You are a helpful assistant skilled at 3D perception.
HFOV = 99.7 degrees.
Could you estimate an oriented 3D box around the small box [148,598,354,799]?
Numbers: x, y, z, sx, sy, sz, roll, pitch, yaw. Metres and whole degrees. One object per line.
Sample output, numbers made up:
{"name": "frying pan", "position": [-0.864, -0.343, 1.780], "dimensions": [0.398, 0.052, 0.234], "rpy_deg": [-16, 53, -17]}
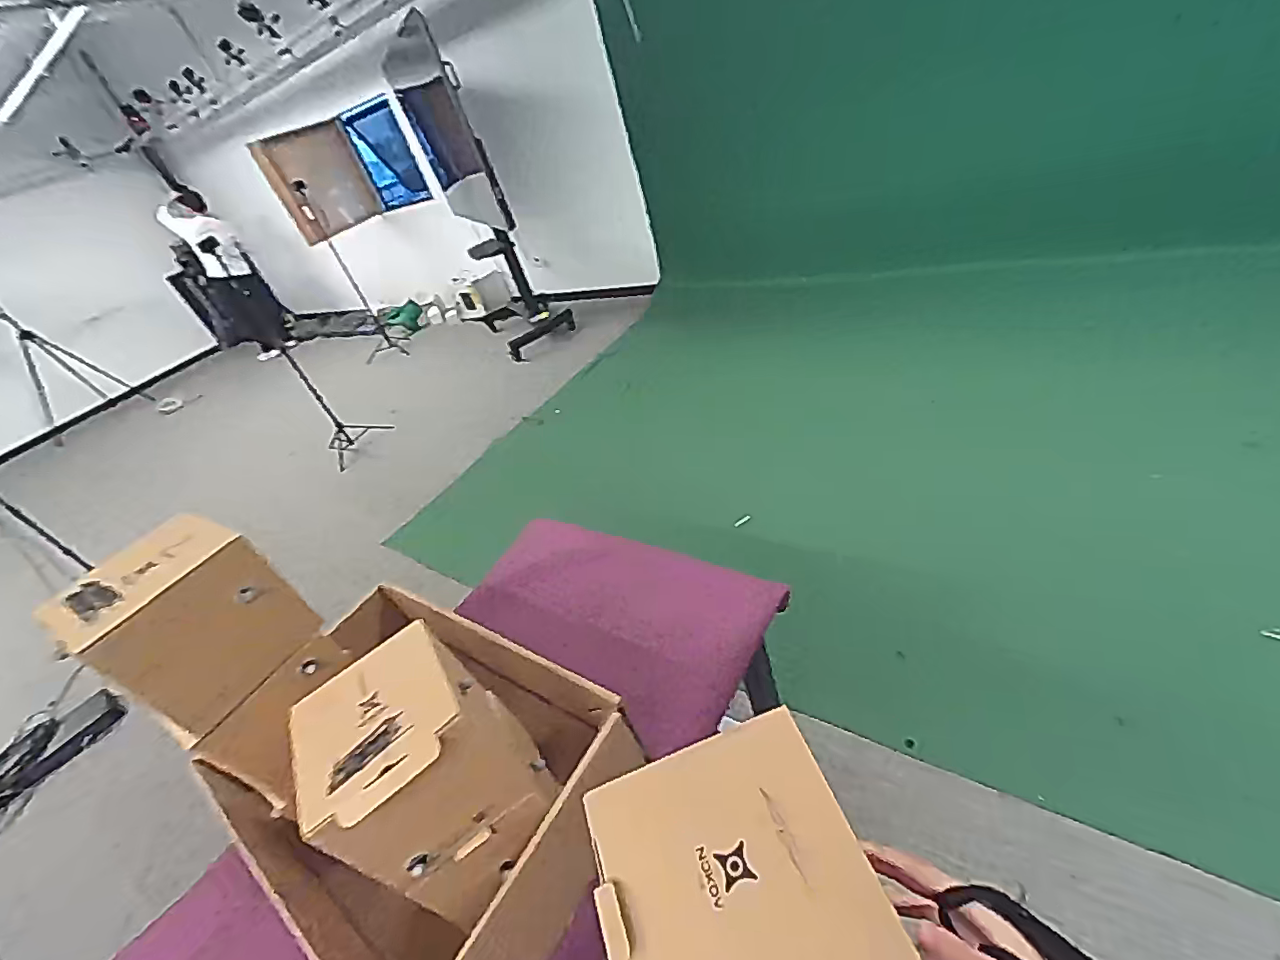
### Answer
{"name": "small box", "position": [-0.509, 0.301, 0.754], "dimensions": [0.168, 0.176, 0.179], "rpy_deg": [10, 45, 33]}

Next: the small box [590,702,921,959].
{"name": "small box", "position": [0.082, 0.311, 0.421], "dimensions": [0.179, 0.176, 0.168], "rpy_deg": [-22, 46, -3]}

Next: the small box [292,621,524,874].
{"name": "small box", "position": [-0.260, 0.306, 0.619], "dimensions": [0.168, 0.176, 0.179], "rpy_deg": [-35, 37, -18]}
